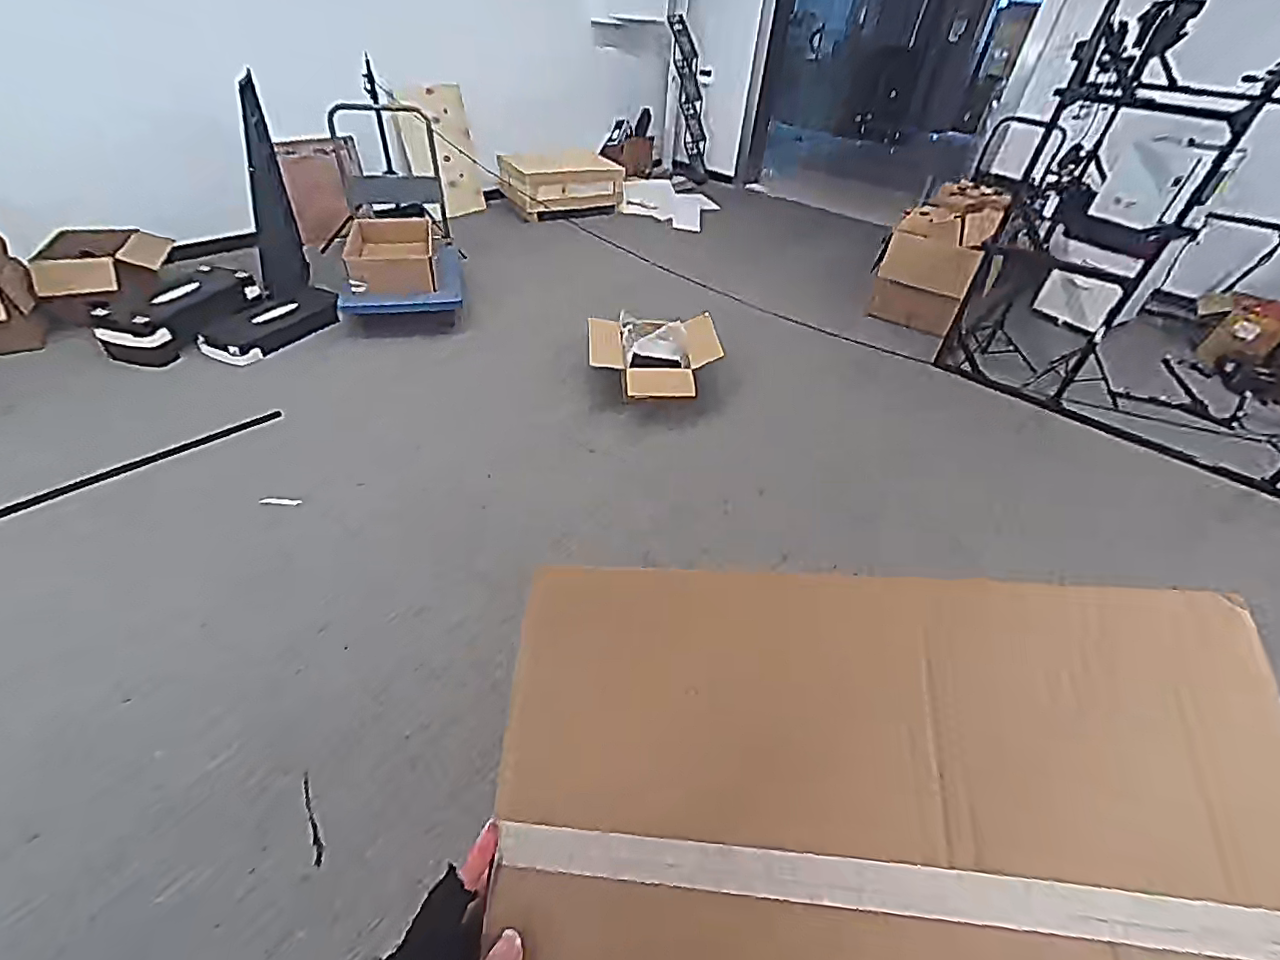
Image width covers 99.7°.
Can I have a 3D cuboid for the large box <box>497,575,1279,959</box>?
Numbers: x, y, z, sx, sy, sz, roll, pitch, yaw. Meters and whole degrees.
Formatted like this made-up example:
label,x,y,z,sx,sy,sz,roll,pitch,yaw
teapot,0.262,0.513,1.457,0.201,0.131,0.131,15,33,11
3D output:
label,x,y,z,sx,sy,sz,roll,pitch,yaw
large box,0.142,0.263,0.417,0.408,0.320,0.320,1,69,10
